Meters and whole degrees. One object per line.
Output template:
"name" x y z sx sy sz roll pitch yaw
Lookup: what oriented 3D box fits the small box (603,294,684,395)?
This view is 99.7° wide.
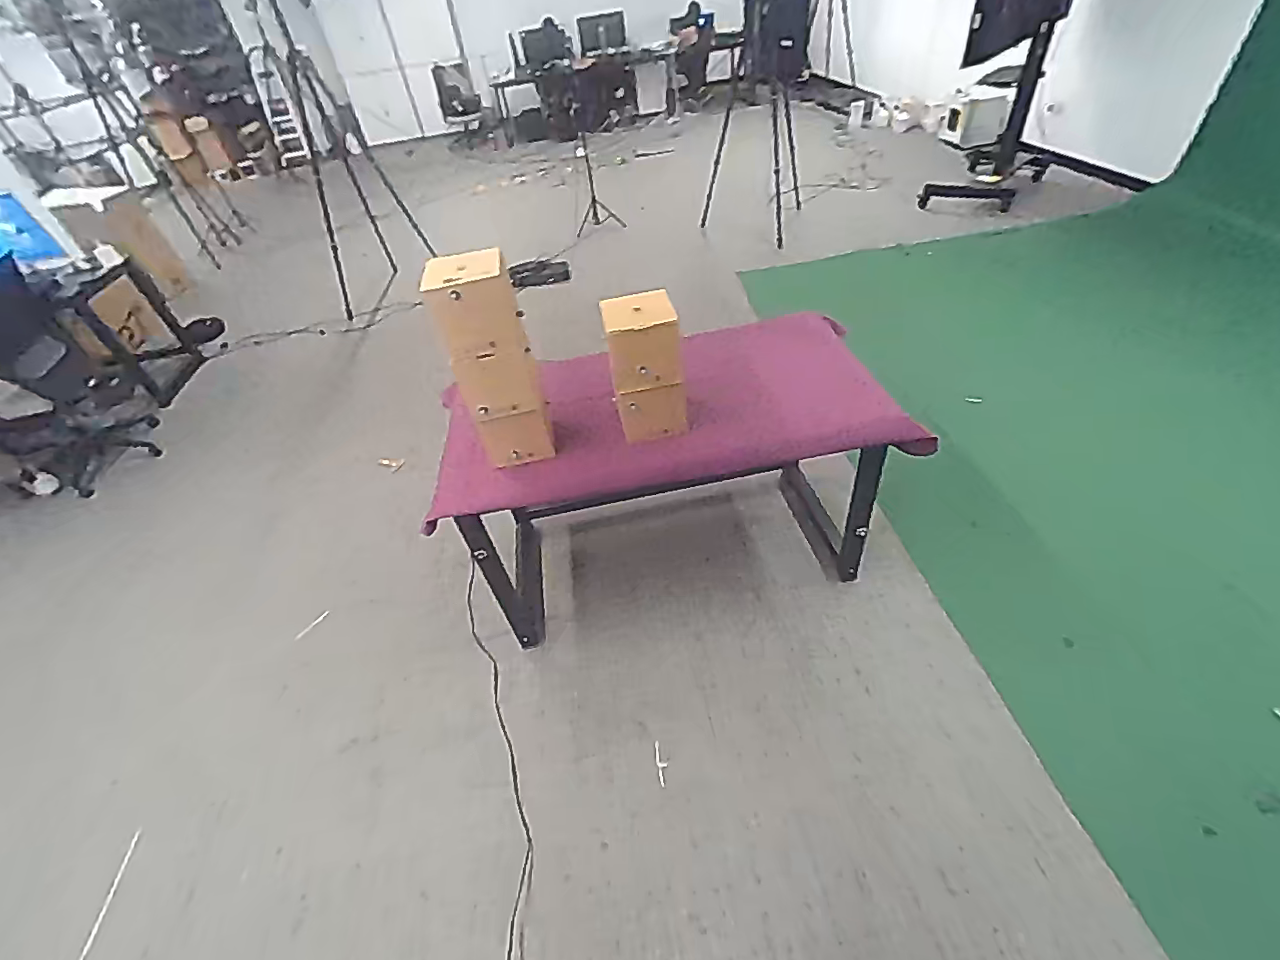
"small box" 0.007 -0.331 1.327 0.168 0.176 0.179 -11 43 -2

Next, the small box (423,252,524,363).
"small box" -0.364 -0.385 1.212 0.168 0.176 0.179 -13 42 -2

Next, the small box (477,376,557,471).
"small box" -0.322 -0.149 1.435 0.168 0.176 0.179 -12 43 -2

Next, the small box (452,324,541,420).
"small box" -0.341 -0.262 1.318 0.168 0.176 0.179 -12 42 -2
